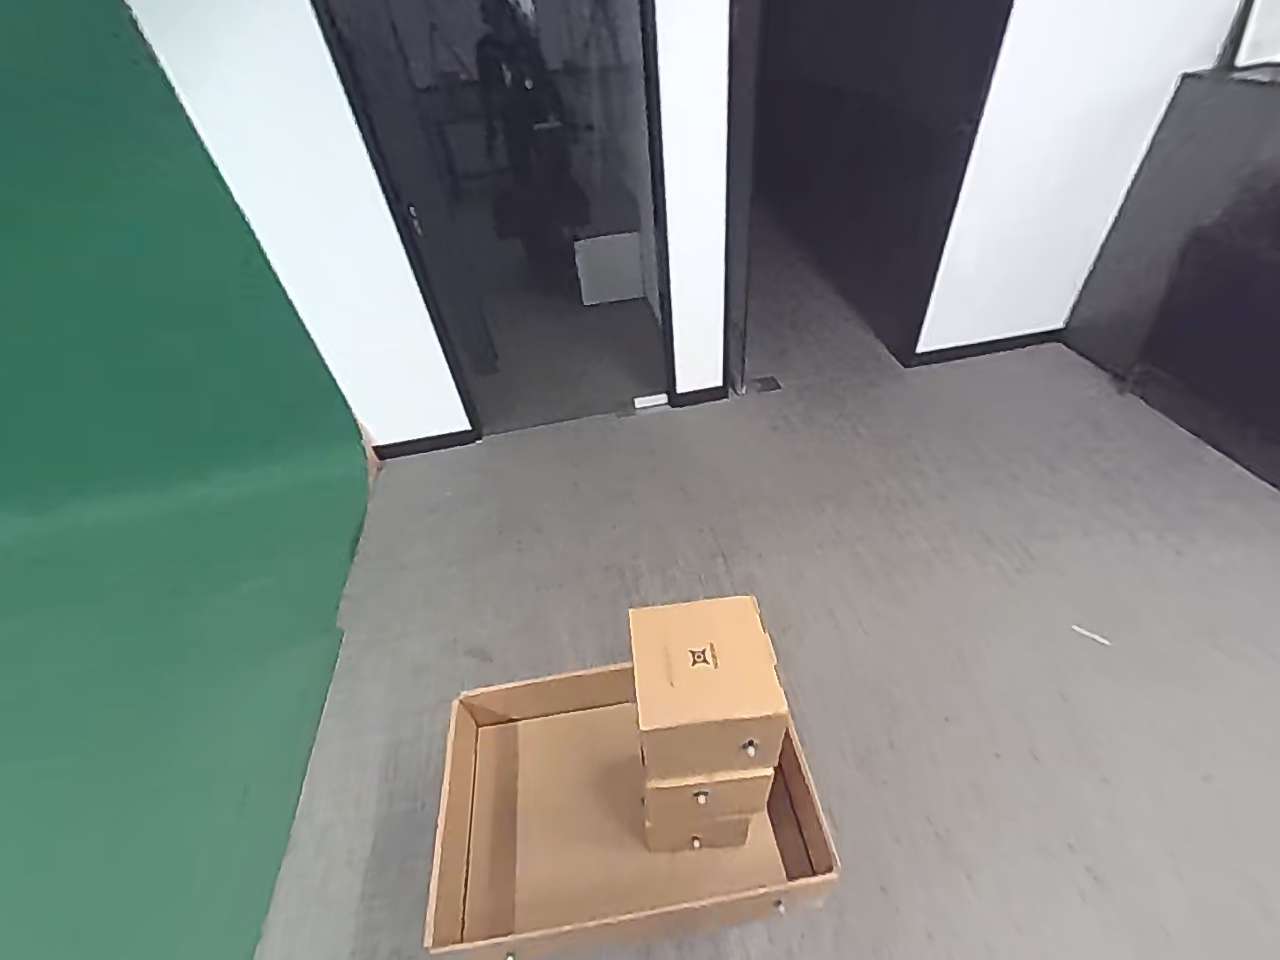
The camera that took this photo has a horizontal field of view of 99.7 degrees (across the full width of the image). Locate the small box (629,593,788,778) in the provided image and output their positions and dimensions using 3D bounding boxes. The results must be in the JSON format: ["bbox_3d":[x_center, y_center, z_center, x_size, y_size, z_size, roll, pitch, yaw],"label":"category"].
[{"bbox_3d":[0.083,0.275,0.721,0.179,0.176,0.168,-7,41,0],"label":"small box"}]

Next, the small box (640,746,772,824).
[{"bbox_3d":[0.092,0.402,0.823,0.179,0.176,0.168,-6,42,0],"label":"small box"}]

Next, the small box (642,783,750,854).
[{"bbox_3d":[0.092,0.524,0.934,0.168,0.176,0.179,-6,41,1],"label":"small box"}]
